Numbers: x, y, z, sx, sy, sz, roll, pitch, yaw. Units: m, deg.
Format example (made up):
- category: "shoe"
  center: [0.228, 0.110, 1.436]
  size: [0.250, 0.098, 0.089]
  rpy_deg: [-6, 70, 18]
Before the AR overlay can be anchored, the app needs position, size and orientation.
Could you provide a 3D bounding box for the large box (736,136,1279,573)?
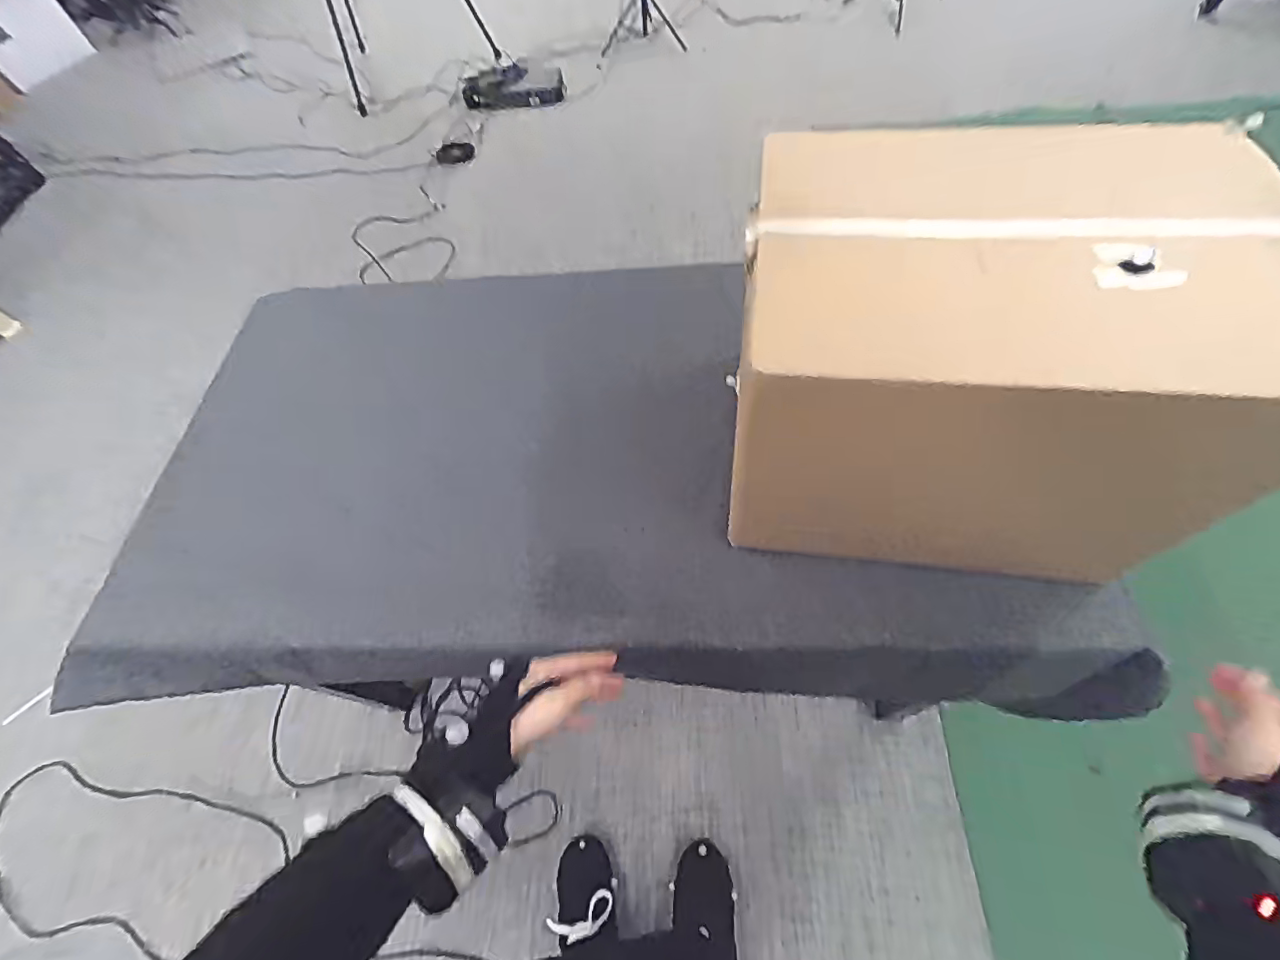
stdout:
- category: "large box"
  center: [0.315, -0.116, 0.561]
  size: [0.408, 0.320, 0.320]
  rpy_deg: [5, 60, 8]
